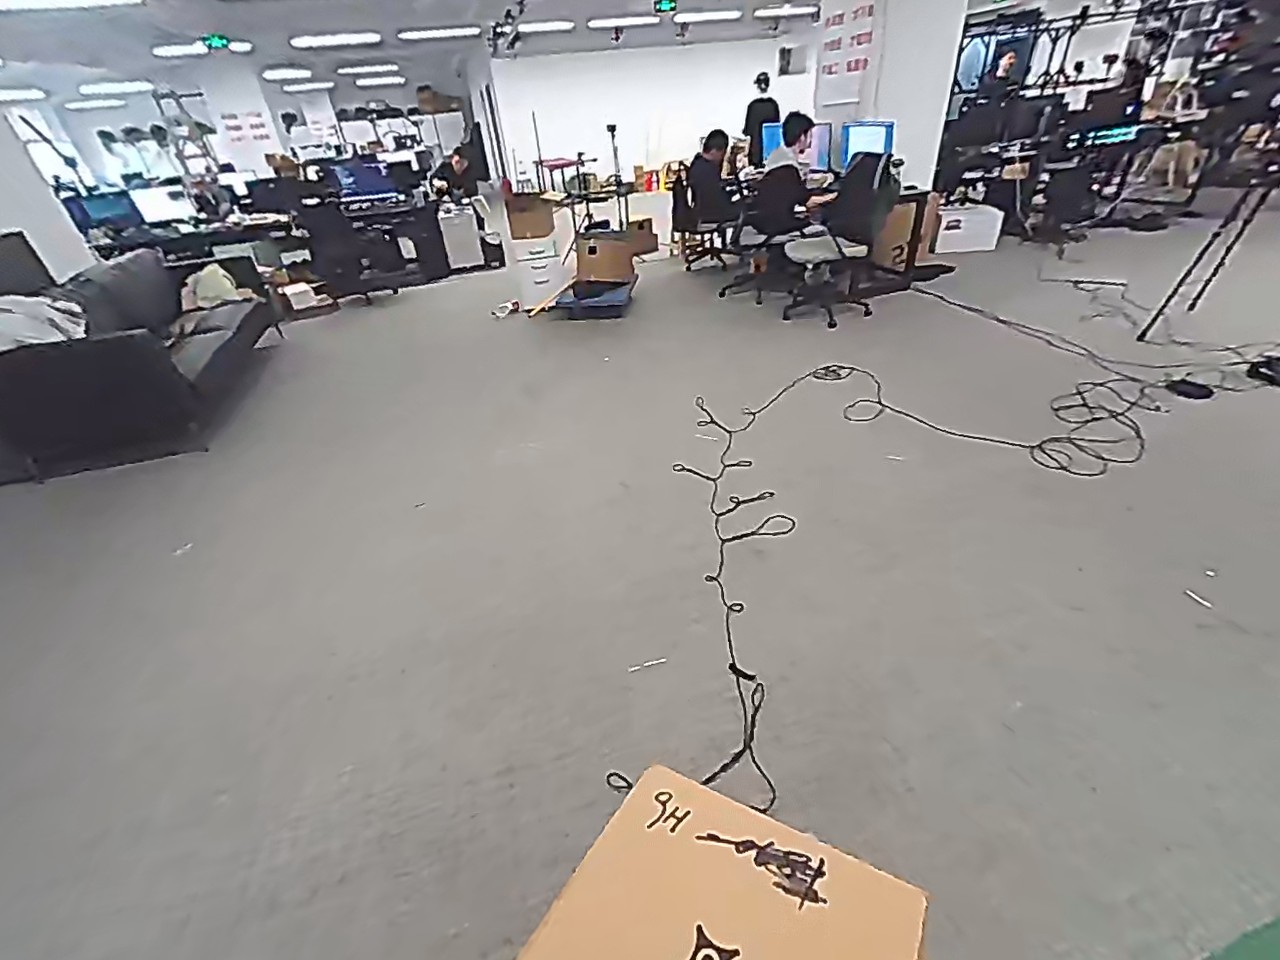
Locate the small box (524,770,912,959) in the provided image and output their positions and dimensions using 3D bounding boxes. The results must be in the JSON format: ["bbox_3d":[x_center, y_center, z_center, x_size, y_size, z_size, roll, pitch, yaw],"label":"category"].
[{"bbox_3d":[0.042,0.311,0.290,0.168,0.176,0.179,6,29,35],"label":"small box"}]
